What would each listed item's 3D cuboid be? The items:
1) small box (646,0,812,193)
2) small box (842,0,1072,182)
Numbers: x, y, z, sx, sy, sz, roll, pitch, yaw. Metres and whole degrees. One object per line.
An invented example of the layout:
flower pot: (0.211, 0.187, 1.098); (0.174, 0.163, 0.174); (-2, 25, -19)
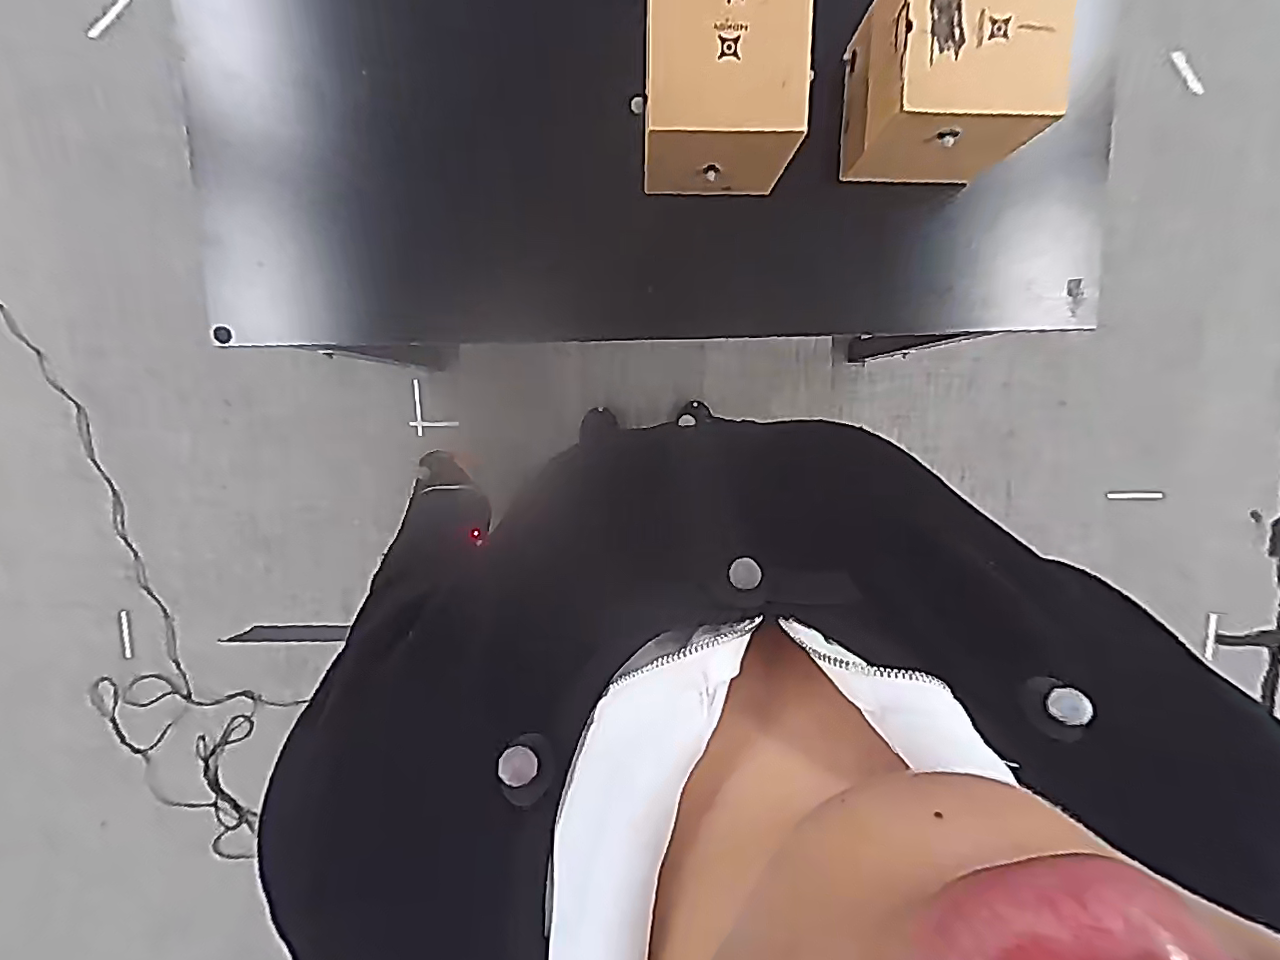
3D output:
small box: (0.093, -0.458, 0.634); (0.168, 0.176, 0.179); (1, 97, -1)
small box: (0.353, -0.470, 0.634); (0.179, 0.176, 0.168); (1, 97, -1)
